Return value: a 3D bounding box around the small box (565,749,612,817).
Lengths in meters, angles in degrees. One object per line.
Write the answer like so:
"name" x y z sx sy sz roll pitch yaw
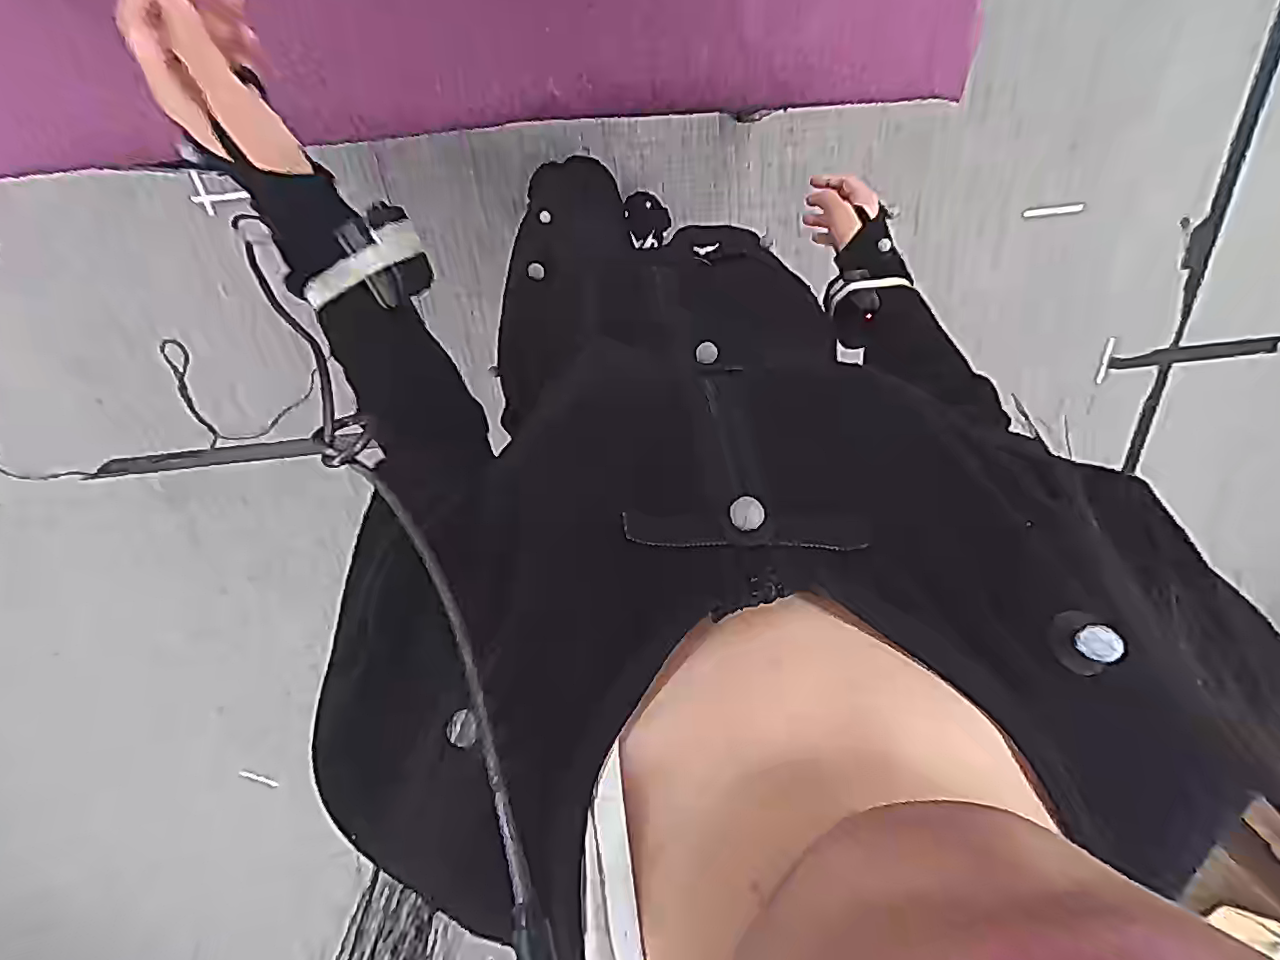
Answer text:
"small box" -0.199 1.163 2.091 0.168 0.176 0.179 -4 118 -2
